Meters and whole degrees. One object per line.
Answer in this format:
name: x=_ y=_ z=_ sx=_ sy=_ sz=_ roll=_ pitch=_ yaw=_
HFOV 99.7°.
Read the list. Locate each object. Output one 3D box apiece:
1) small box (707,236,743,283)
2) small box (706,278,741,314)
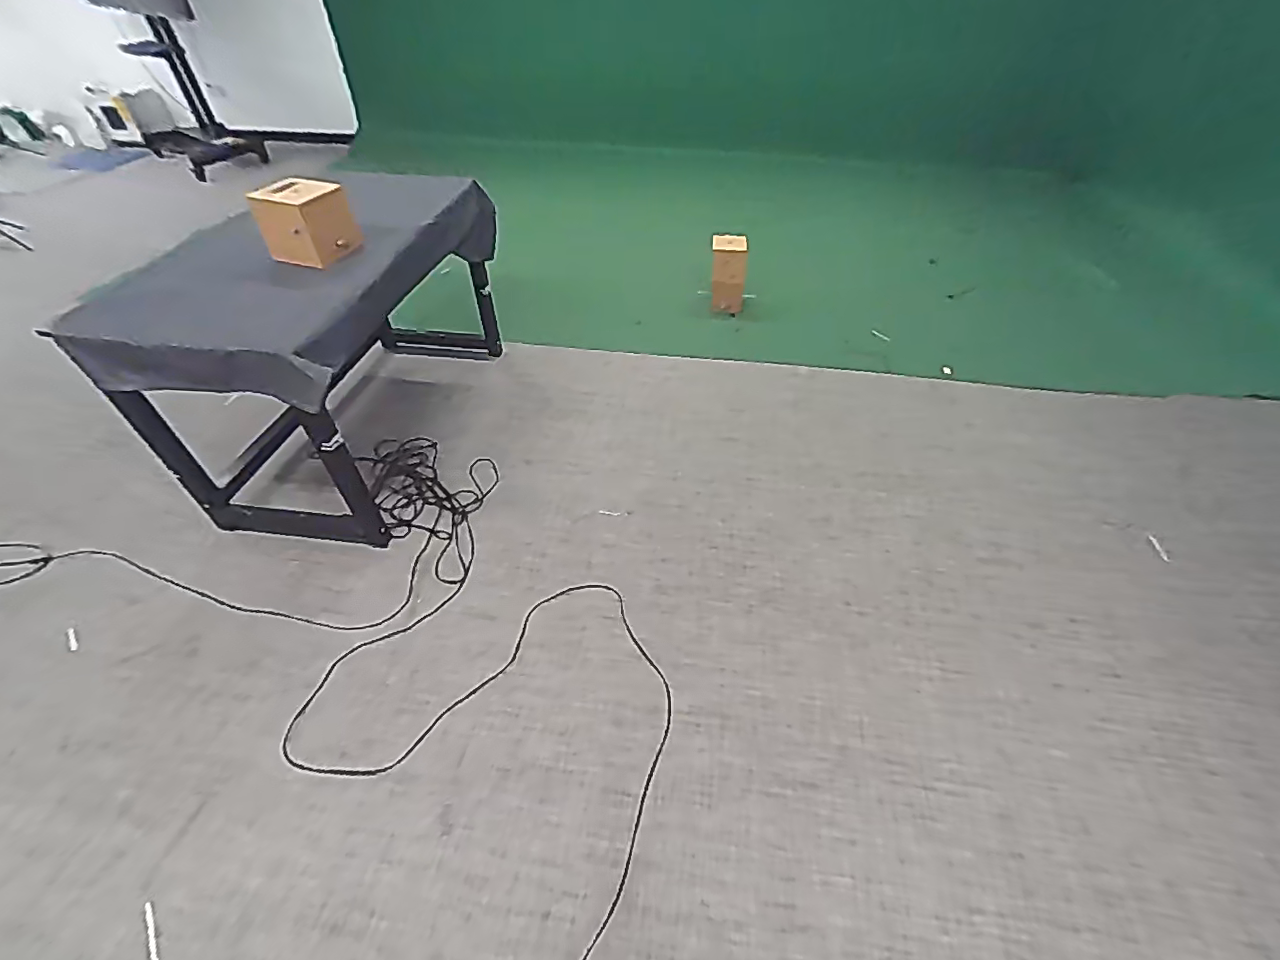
small box: x=0.423 y=-1.094 z=2.686 sx=0.168 sy=0.176 sz=0.179 roll=4 pitch=45 yaw=4
small box: x=0.432 y=-0.982 z=2.804 sx=0.168 sy=0.176 sz=0.179 roll=5 pitch=46 yaw=5
